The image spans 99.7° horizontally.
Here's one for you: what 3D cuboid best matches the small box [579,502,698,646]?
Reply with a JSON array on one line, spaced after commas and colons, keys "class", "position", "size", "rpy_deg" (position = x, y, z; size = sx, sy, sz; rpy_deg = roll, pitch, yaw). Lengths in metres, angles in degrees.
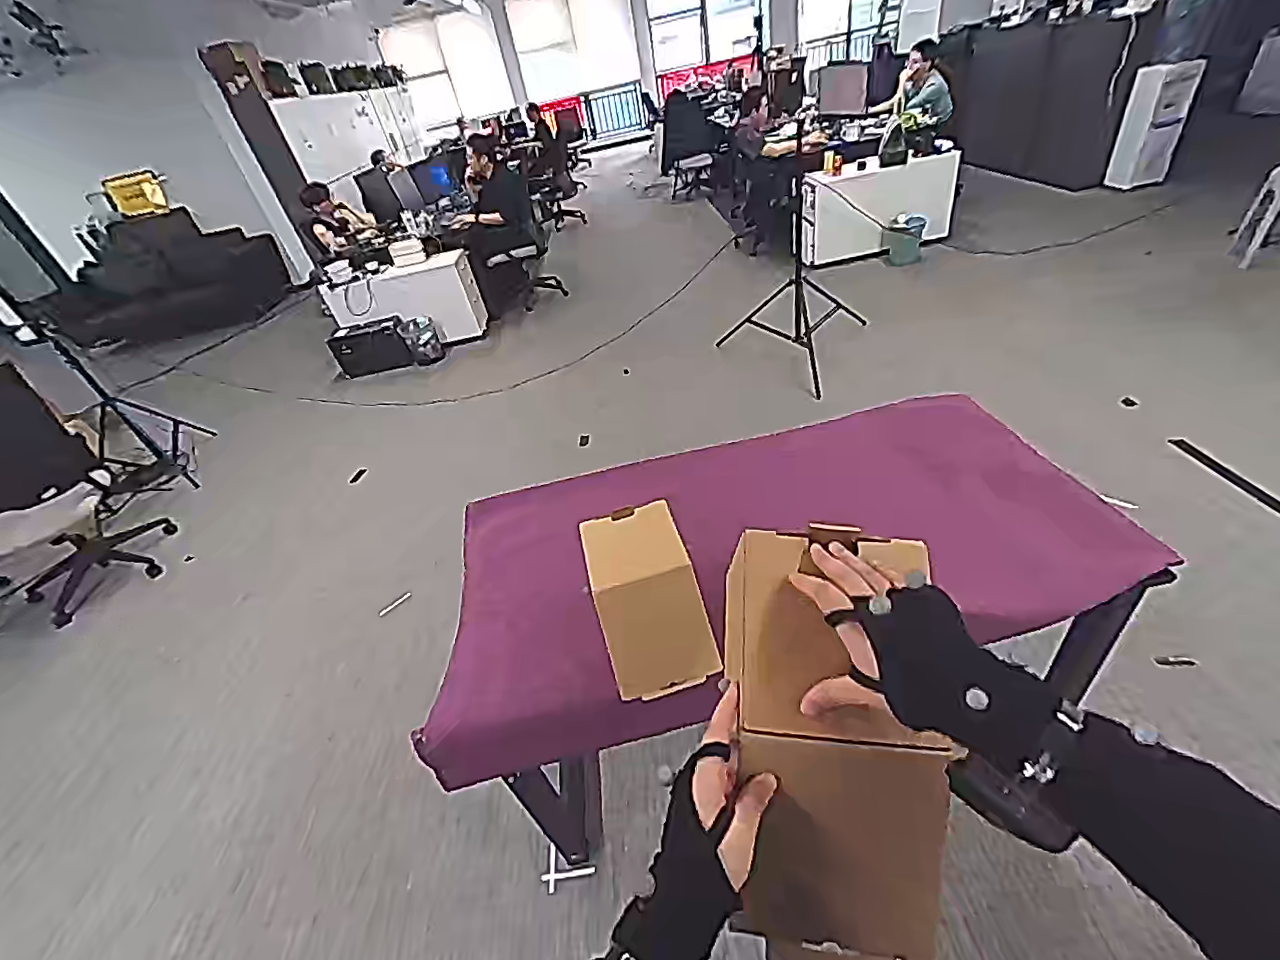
[{"class": "small box", "position": [-0.002, 0.173, 0.970], "size": [0.168, 0.176, 0.179], "rpy_deg": [-15, 36, -4]}]
